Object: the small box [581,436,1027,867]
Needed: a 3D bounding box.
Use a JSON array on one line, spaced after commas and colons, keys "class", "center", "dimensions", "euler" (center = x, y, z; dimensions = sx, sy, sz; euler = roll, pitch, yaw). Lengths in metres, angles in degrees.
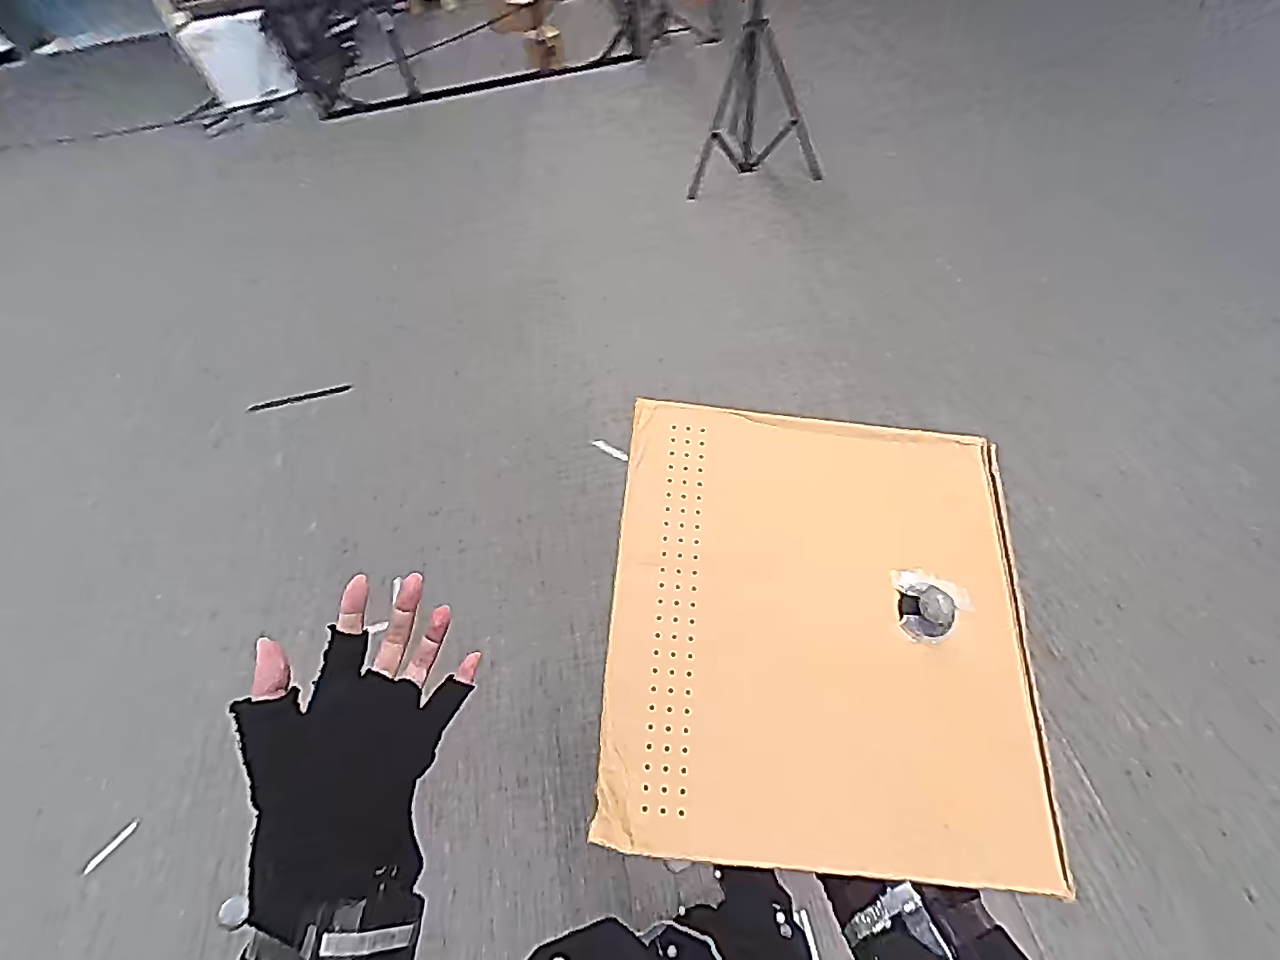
[{"class": "small box", "center": [0.059, 0.088, 0.300], "dimensions": [0.176, 0.168, 0.179], "euler": [5, 67, -1]}]
